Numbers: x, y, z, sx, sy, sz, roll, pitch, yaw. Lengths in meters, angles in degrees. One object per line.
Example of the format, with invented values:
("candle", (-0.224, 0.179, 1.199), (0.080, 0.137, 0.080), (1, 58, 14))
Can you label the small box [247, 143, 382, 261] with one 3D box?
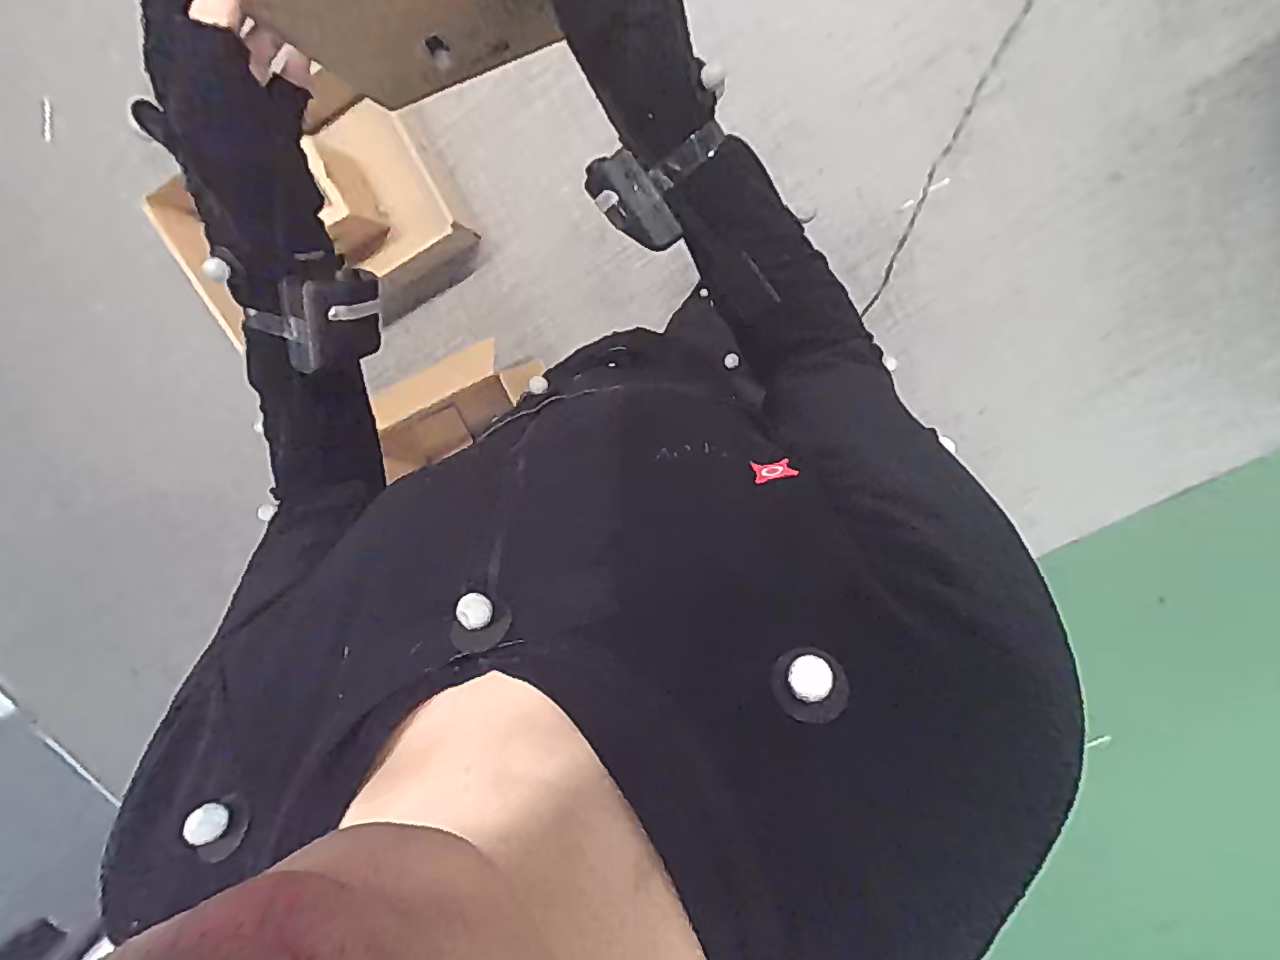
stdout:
("small box", (-0.722, -0.620, 1.228), (0.179, 0.176, 0.168), (-23, 102, 12))
